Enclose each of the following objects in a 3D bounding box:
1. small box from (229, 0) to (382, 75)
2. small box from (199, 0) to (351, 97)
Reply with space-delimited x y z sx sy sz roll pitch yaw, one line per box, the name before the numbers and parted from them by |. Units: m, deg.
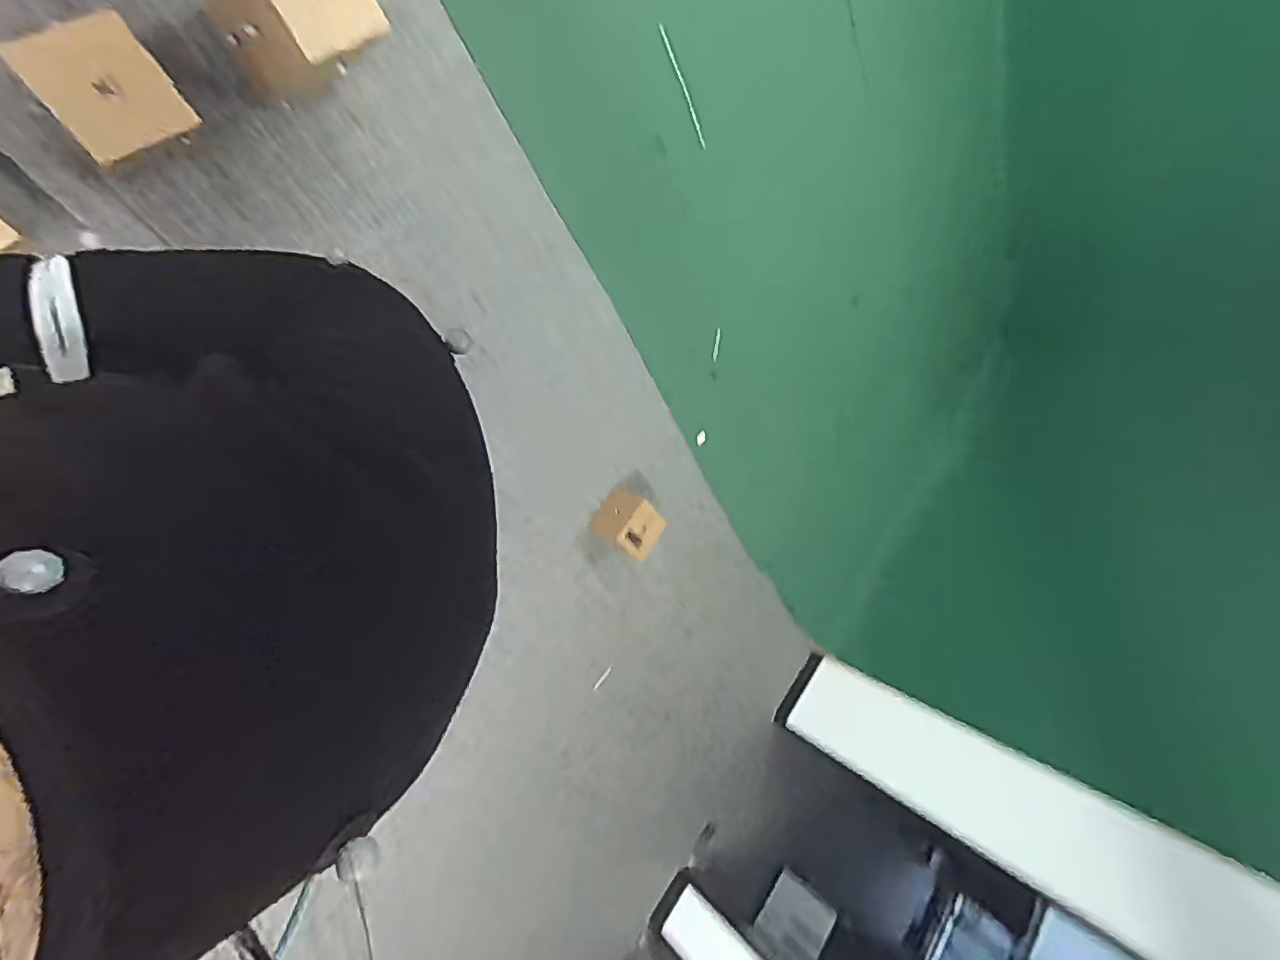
small box | -0.586 -0.828 0.922 0.168 0.176 0.179 -46 130 -22
small box | -0.698 -0.868 1.036 0.168 0.176 0.179 -43 127 -24
